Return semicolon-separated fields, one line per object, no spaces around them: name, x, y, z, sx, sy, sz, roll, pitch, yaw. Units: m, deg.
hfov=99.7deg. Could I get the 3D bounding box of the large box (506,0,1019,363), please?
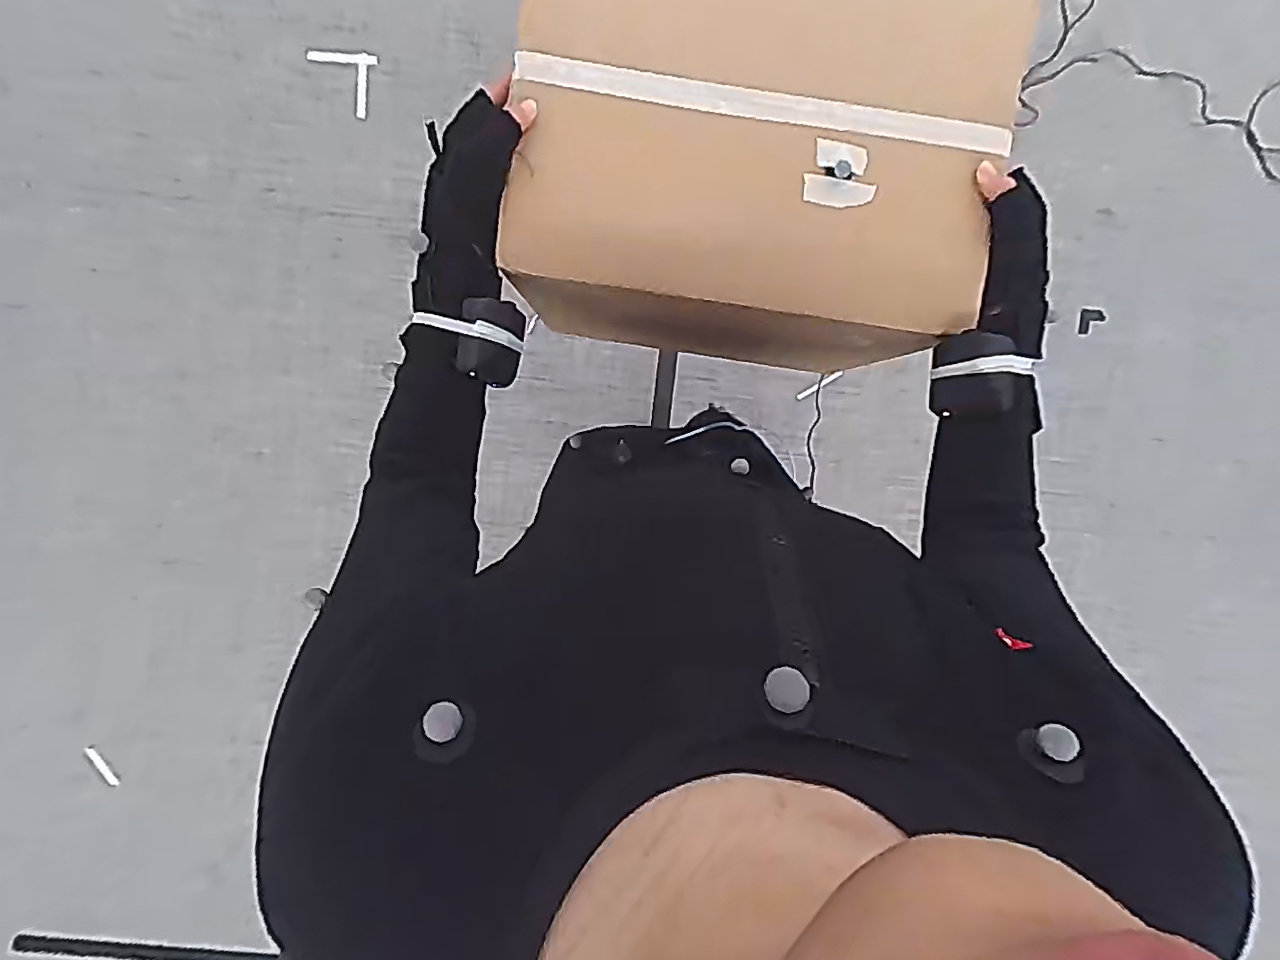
large box;0.093;-0.320;0.592;0.408;0.320;0.320;7;97;-3
